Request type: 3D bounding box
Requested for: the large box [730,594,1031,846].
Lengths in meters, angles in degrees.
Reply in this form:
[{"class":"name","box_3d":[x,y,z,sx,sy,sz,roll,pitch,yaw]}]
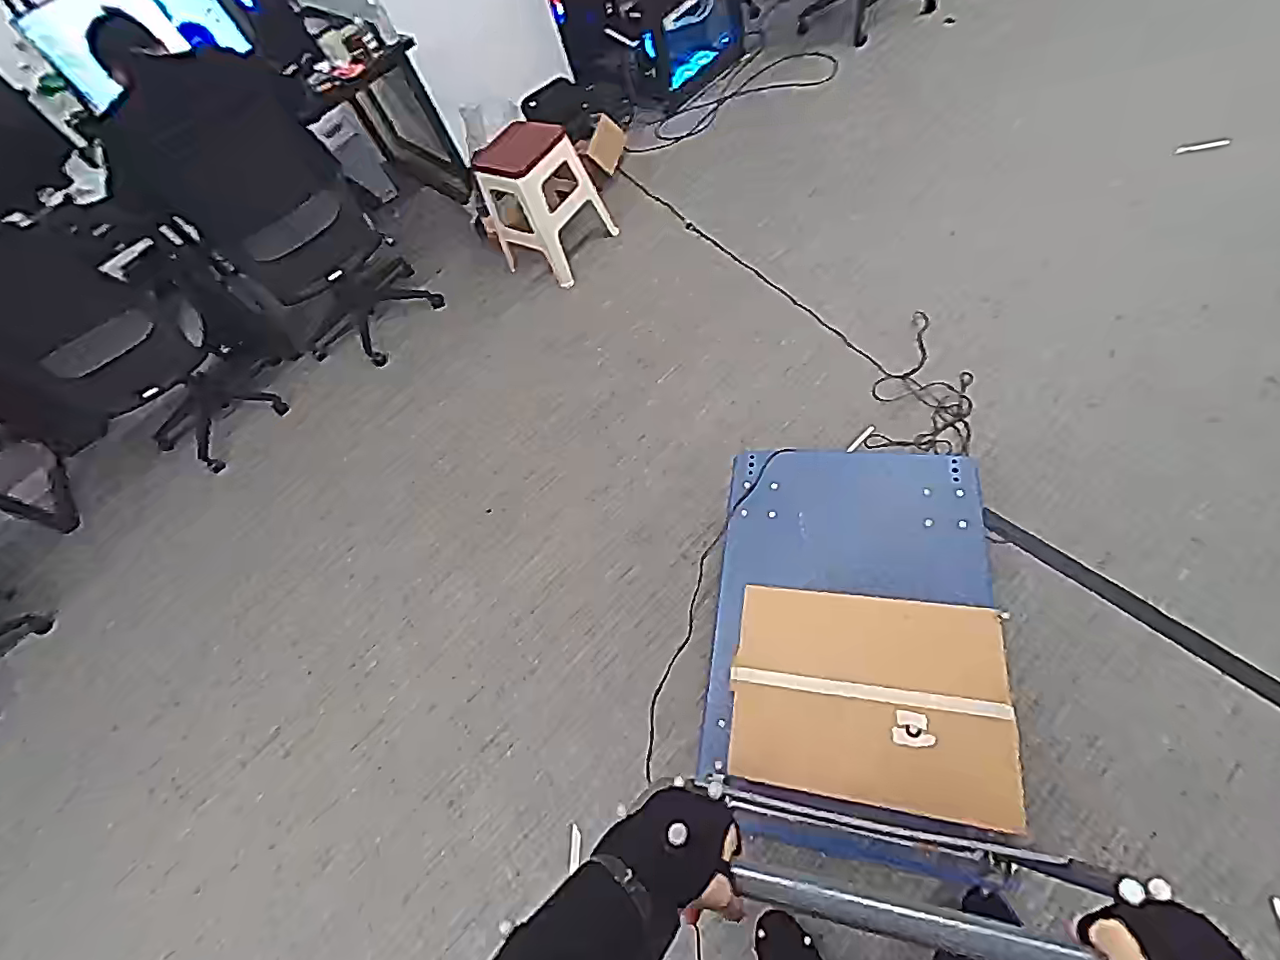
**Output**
[{"class":"large box","box_3d":[0.385,0.414,0.958,0.408,0.320,0.320,3,63,17]}]
